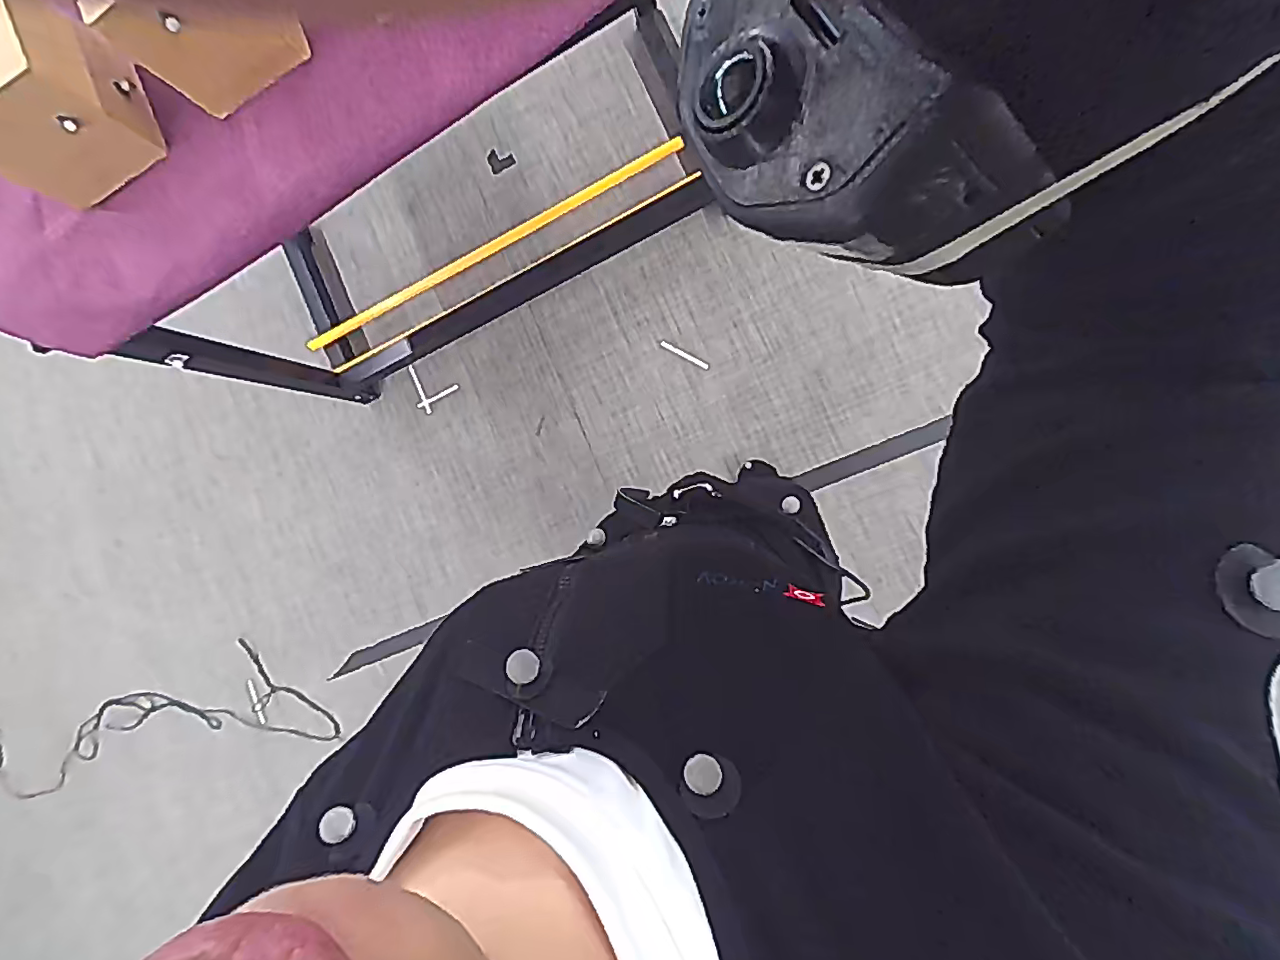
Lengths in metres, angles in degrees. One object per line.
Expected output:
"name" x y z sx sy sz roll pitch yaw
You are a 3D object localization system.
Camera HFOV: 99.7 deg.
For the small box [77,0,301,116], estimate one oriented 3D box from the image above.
"small box" -0.577 -0.629 0.695 0.179 0.176 0.168 -24 85 11
